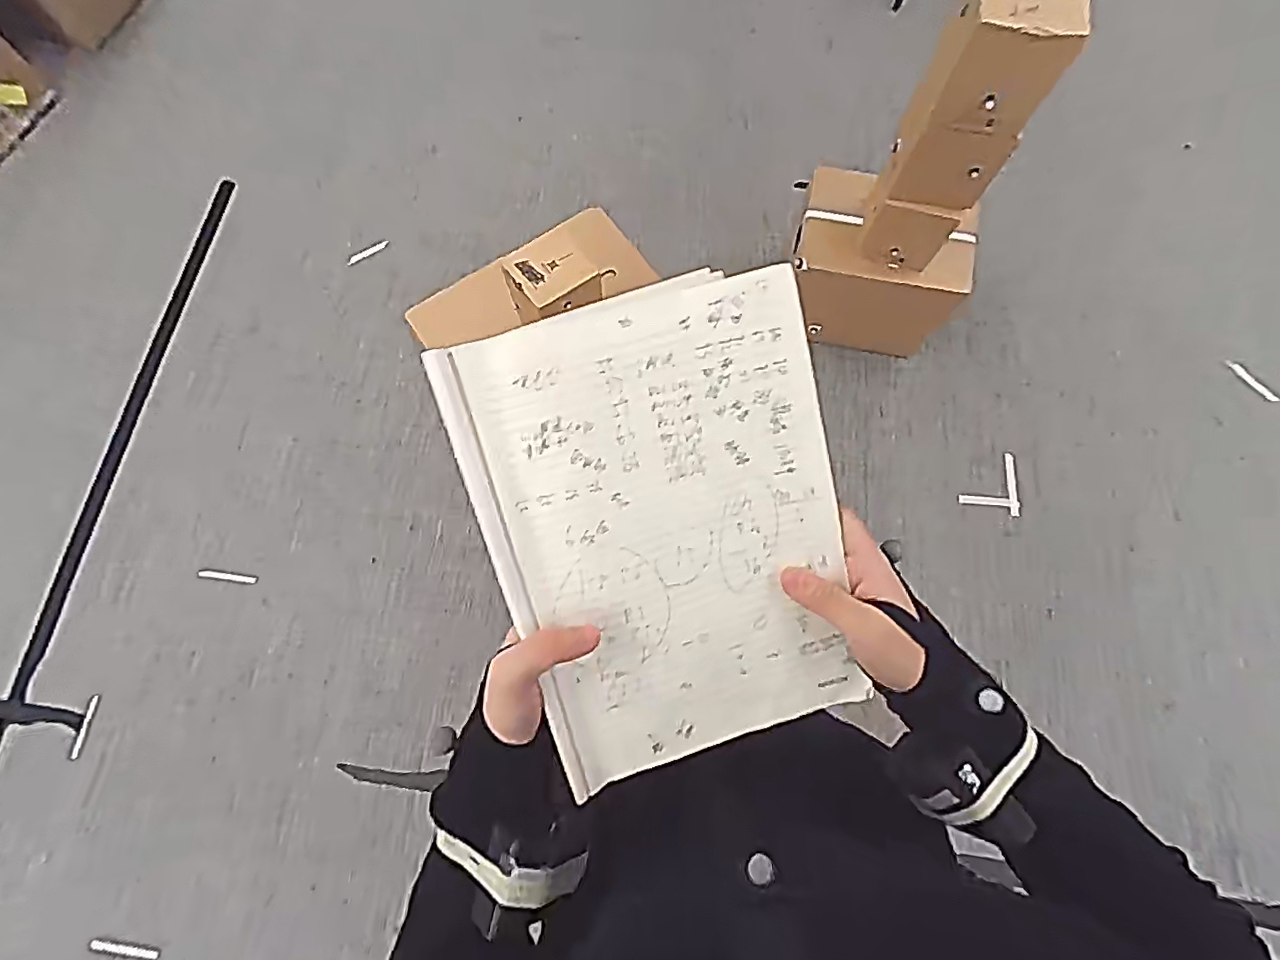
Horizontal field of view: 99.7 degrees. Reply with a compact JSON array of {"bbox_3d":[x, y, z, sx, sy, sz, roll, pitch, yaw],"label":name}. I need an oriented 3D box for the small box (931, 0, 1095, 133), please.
[{"bbox_3d":[0.615,-0.733,0.910,0.168,0.176,0.179,12,74,4],"label":"small box"}]

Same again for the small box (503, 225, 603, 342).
[{"bbox_3d":[-0.203,-0.473,1.324,0.179,0.176,0.168,-35,77,-11],"label":"small box"}]

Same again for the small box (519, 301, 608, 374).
[{"bbox_3d":[-0.204,-0.426,1.482,0.179,0.176,0.168,-36,77,-11],"label":"small box"}]

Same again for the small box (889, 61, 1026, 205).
[{"bbox_3d":[0.617,-0.674,1.064,0.179,0.176,0.168,10,73,4],"label":"small box"}]
